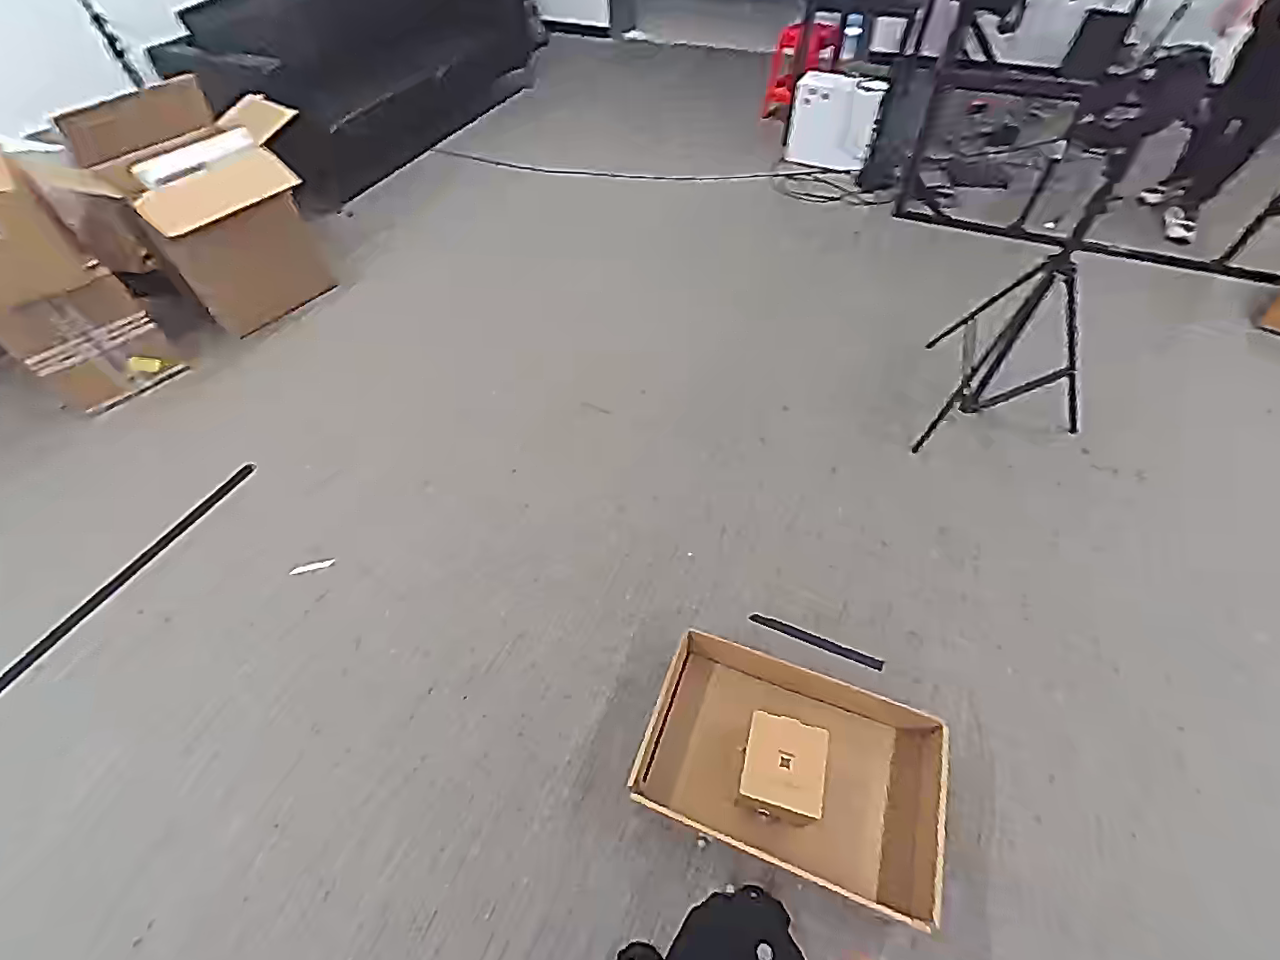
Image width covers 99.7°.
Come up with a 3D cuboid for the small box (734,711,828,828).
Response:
[{"bbox_3d":[0.308,0.644,1.201,0.168,0.176,0.179,12,54,12],"label":"small box"}]
